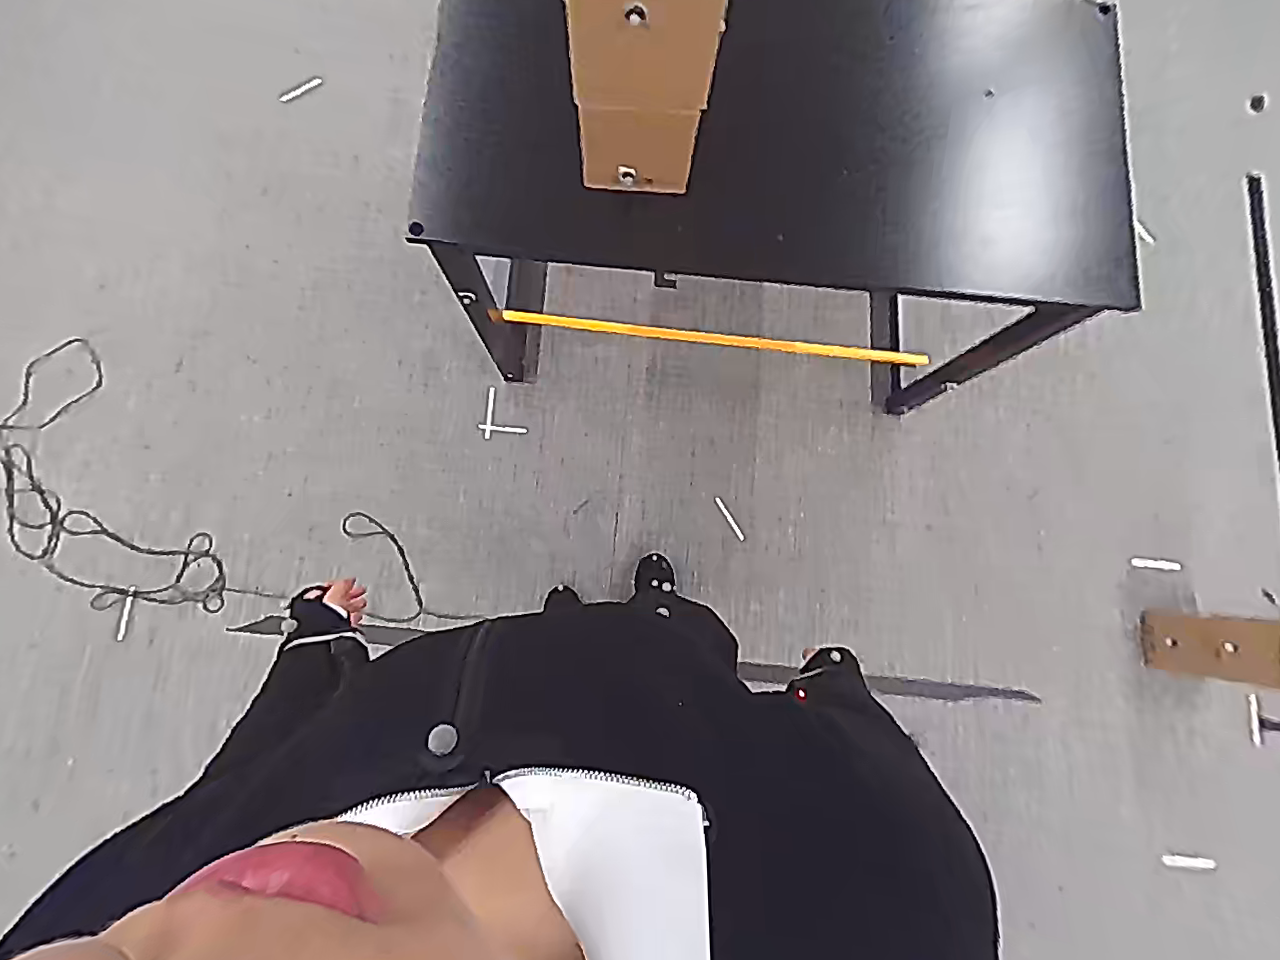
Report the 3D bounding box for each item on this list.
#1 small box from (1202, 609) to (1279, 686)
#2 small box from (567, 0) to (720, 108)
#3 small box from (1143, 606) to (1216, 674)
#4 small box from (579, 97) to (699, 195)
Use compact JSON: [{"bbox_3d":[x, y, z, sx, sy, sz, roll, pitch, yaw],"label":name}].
[{"bbox_3d":[1.550,0.416,1.325,0.179,0.176,0.168,10,81,-1],"label":"small box"},{"bbox_3d":[0.003,-0.591,0.656,0.179,0.176,0.168,0,81,-3],"label":"small box"},{"bbox_3d":[1.538,0.439,1.489,0.179,0.176,0.168,4,81,-2],"label":"small box"},{"bbox_3d":[-0.004,-0.569,0.819,0.168,0.176,0.179,0,82,-2],"label":"small box"}]
